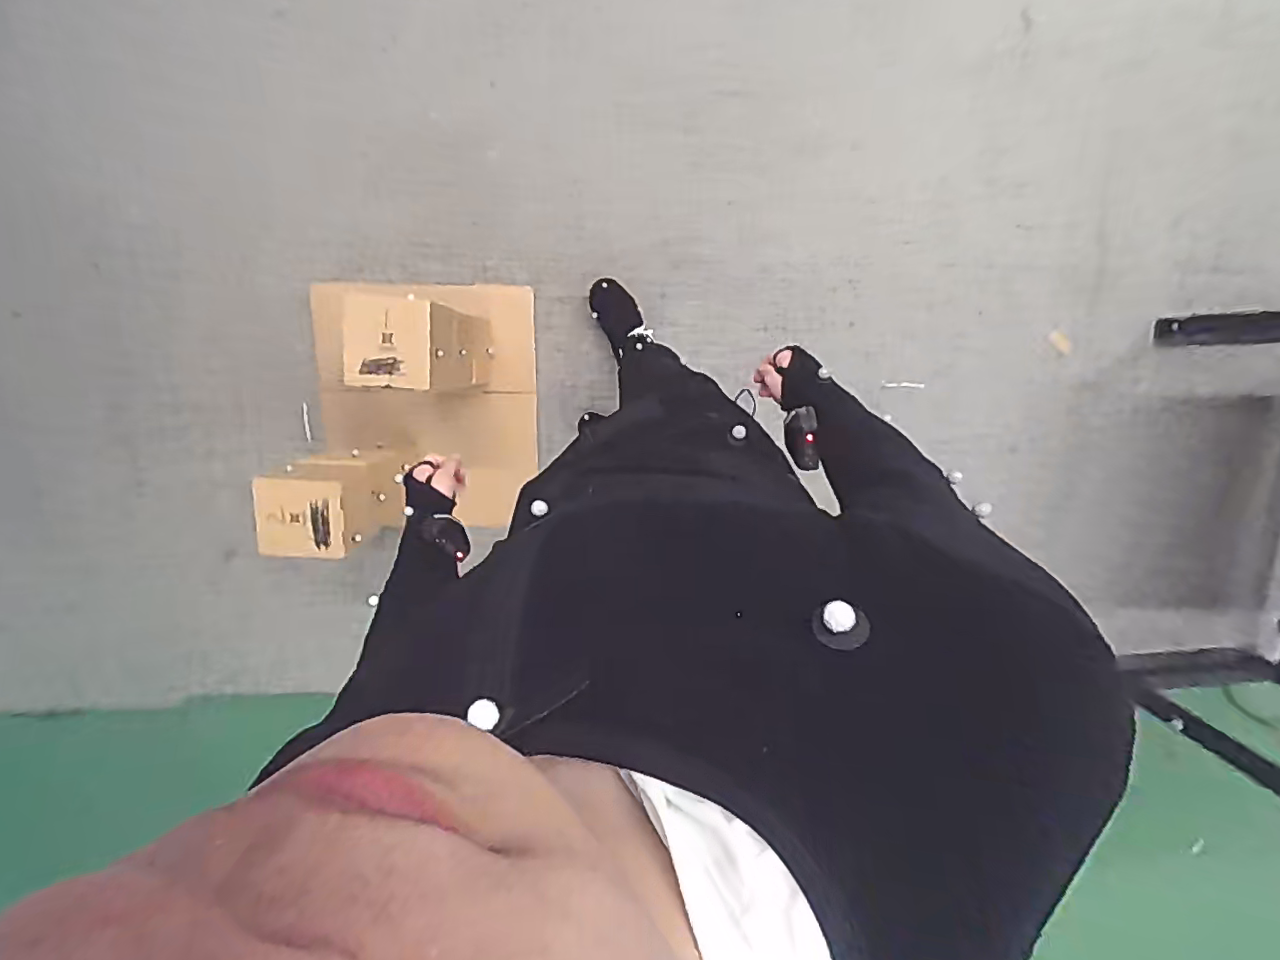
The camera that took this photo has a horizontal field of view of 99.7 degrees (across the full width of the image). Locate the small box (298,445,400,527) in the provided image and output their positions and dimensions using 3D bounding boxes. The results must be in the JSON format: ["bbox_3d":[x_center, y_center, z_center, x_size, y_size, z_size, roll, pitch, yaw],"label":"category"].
[{"bbox_3d":[-0.715,0.010,1.344,0.168,0.176,0.179,1,104,-3],"label":"small box"}]

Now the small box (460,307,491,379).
[{"bbox_3d":[-0.499,-0.364,1.436,0.168,0.176,0.179,3,103,-3],"label":"small box"}]

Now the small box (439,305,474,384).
[{"bbox_3d":[-0.496,-0.326,1.277,0.168,0.176,0.179,5,103,-4],"label":"small box"}]

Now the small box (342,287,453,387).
[{"bbox_3d":[-0.491,-0.292,1.117,0.168,0.176,0.179,4,103,-4],"label":"small box"}]

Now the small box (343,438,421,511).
[{"bbox_3d":[-0.721,-0.020,1.503,0.168,0.176,0.179,1,103,-2],"label":"small box"}]
